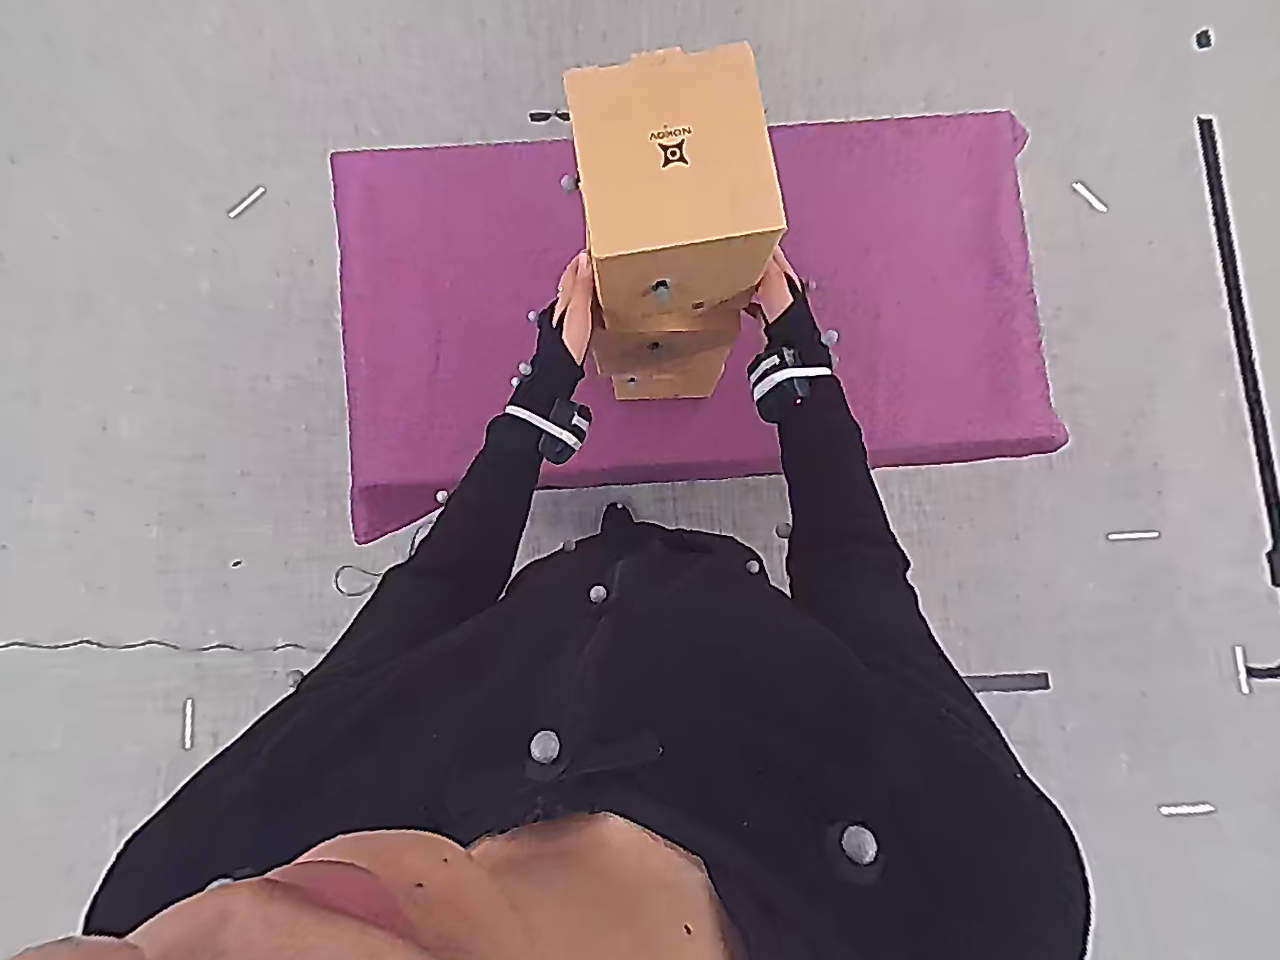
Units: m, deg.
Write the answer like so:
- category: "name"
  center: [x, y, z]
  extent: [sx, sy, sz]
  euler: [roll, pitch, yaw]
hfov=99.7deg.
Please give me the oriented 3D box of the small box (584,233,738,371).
- category: "small box"
  center: [0.025, -0.243, 0.699]
  extent: [0.179, 0.176, 0.168]
  euler: [-2, 85, 0]

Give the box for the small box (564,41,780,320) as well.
- category: "small box"
  center: [0.028, -0.274, 0.538]
  extent: [0.168, 0.176, 0.179]
  euler: [-9, 84, 0]
